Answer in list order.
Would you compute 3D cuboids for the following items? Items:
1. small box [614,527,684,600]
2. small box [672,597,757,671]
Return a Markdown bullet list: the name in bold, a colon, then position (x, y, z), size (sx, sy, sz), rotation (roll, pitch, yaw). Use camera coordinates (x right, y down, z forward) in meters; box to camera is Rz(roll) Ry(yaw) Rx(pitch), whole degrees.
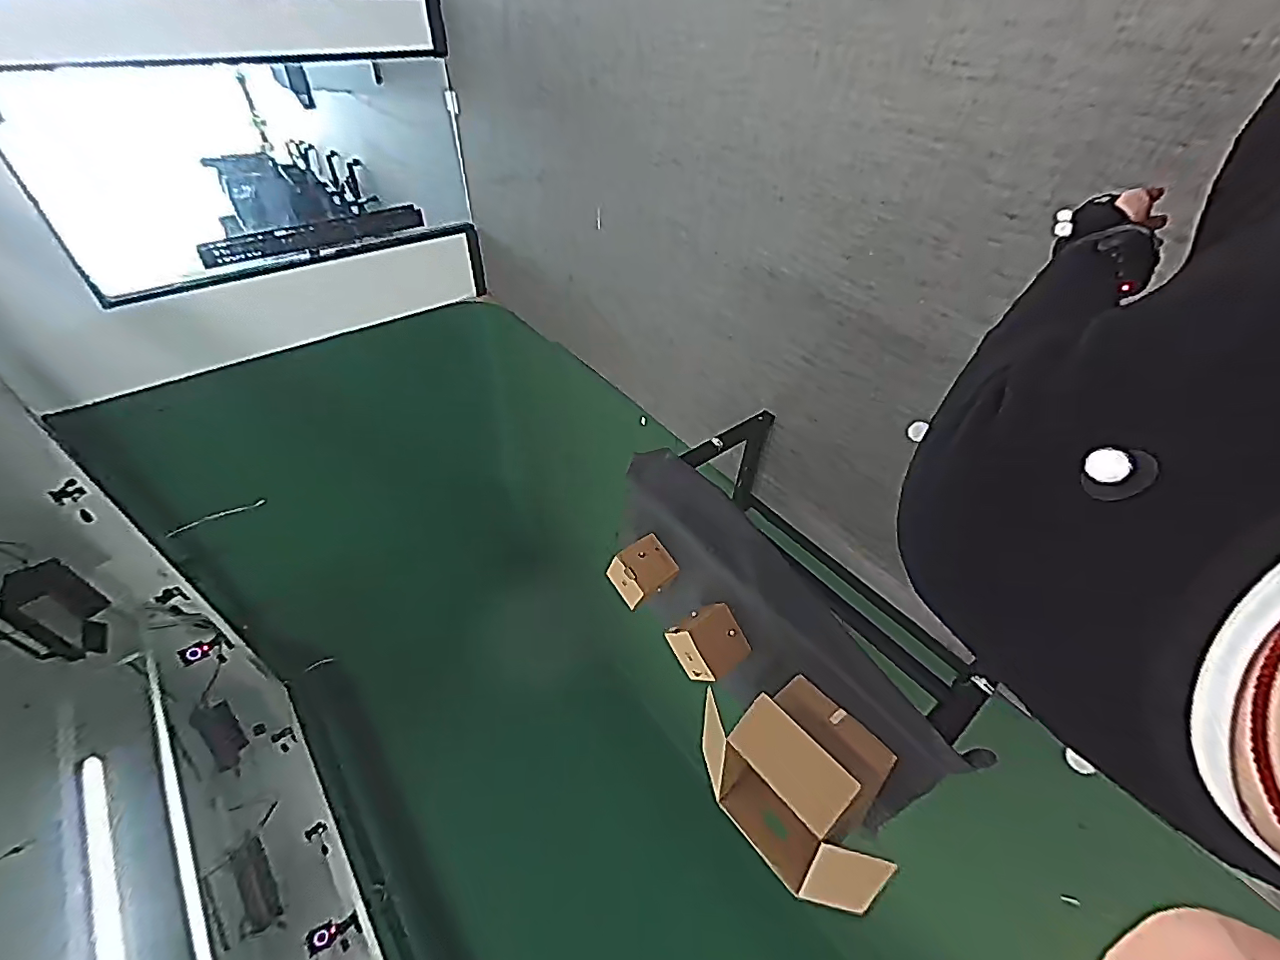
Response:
- **small box**: position (0.035, 0.291, 1.907), size (0.168, 0.176, 0.179), rotation (54, 152, 18)
- **small box**: position (0.240, 0.489, 1.738), size (0.179, 0.176, 0.168), rotation (62, 151, 3)
